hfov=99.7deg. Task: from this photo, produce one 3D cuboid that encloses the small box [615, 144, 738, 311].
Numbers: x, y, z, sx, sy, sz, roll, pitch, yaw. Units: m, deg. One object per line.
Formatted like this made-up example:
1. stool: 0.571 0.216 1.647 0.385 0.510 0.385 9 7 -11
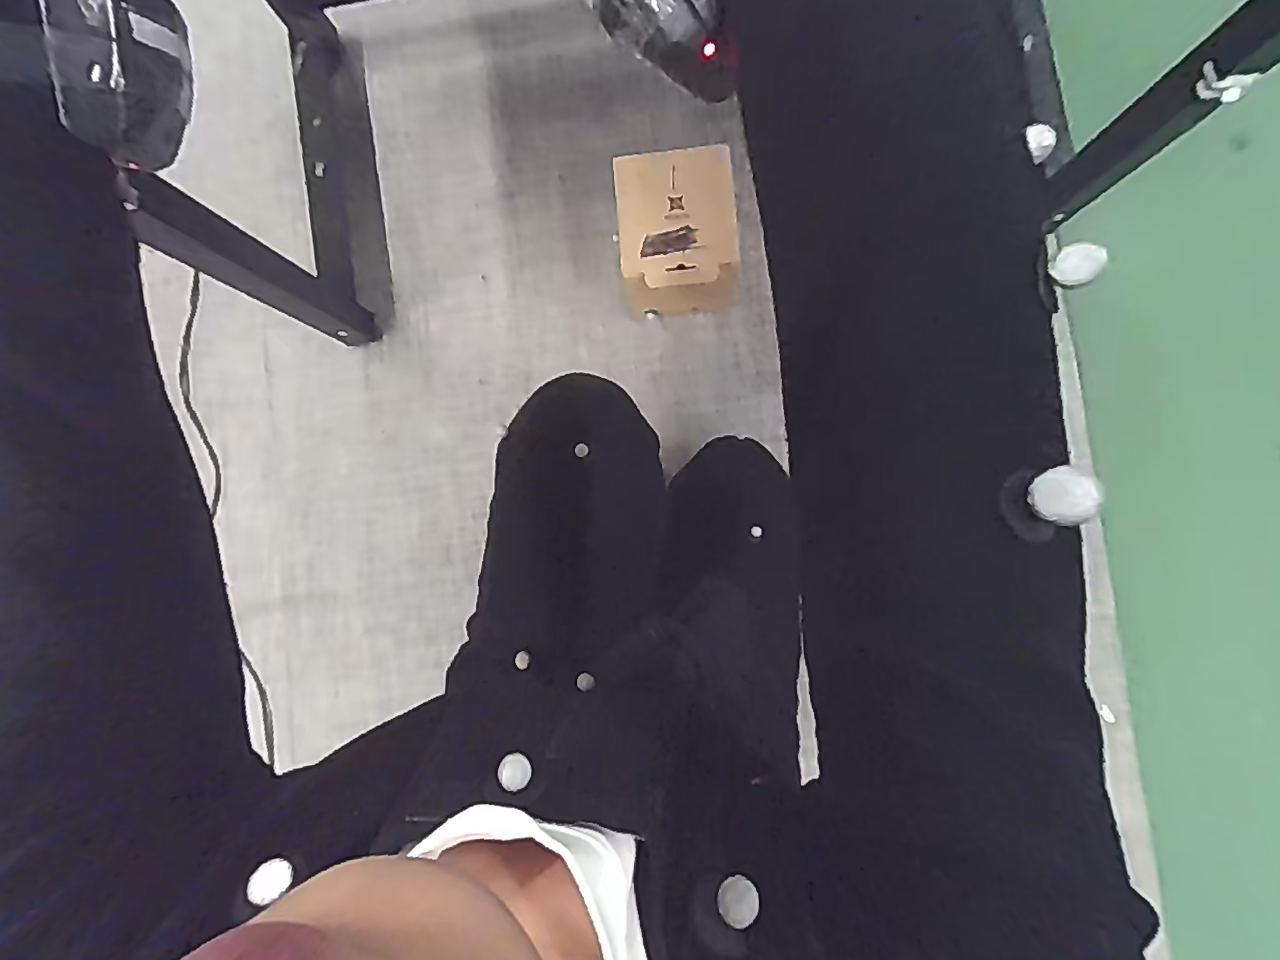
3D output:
1. small box: 0.057 -0.371 0.831 0.168 0.176 0.179 -4 86 4
